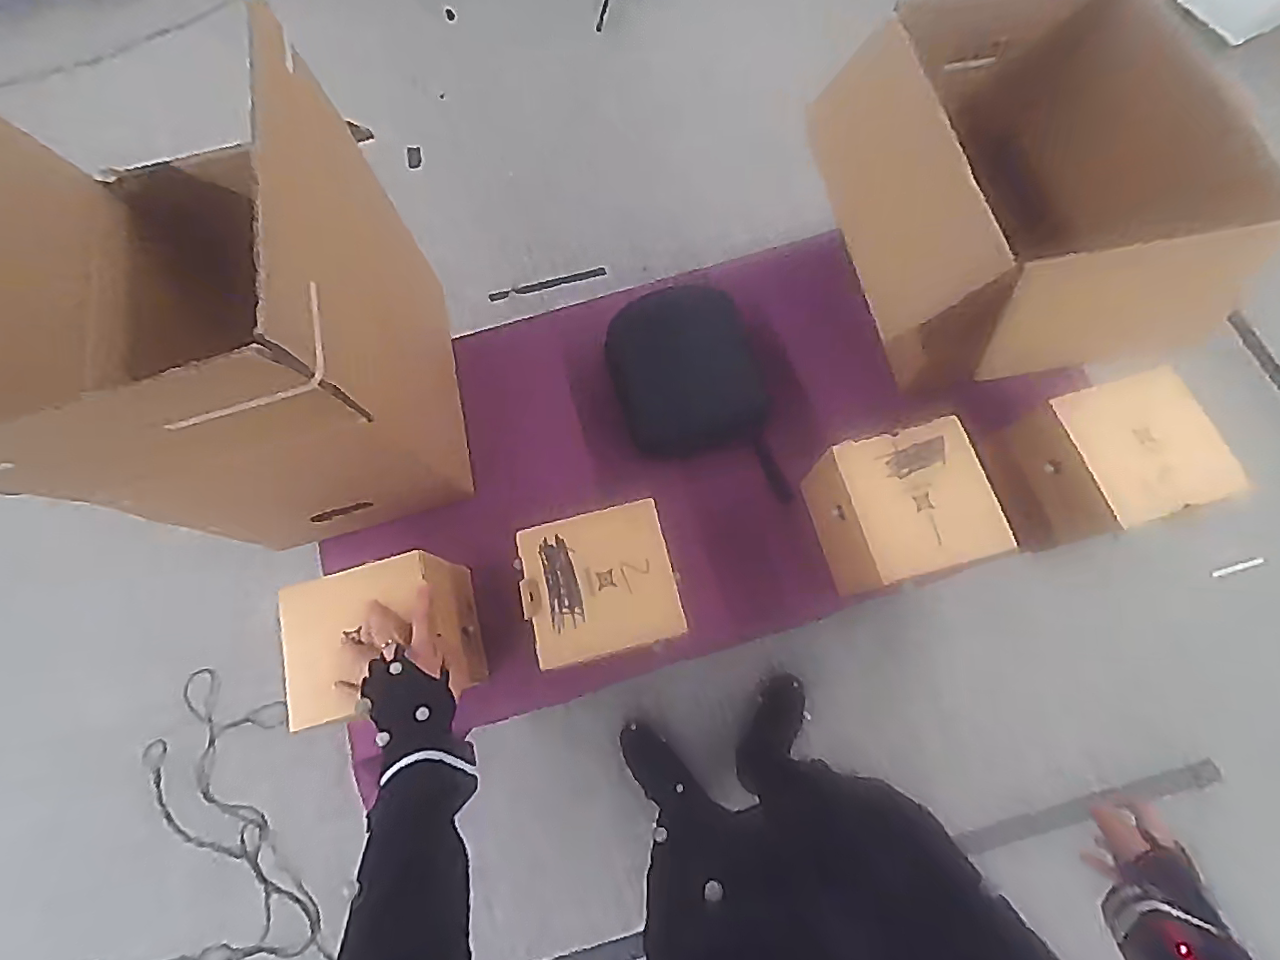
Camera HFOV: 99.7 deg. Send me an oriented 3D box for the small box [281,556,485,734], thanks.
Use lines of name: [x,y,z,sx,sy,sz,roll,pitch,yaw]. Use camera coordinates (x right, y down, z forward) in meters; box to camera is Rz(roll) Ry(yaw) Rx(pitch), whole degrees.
small box: [-0.323,0.213,0.703,0.179,0.176,0.168,-16,72,-3]
